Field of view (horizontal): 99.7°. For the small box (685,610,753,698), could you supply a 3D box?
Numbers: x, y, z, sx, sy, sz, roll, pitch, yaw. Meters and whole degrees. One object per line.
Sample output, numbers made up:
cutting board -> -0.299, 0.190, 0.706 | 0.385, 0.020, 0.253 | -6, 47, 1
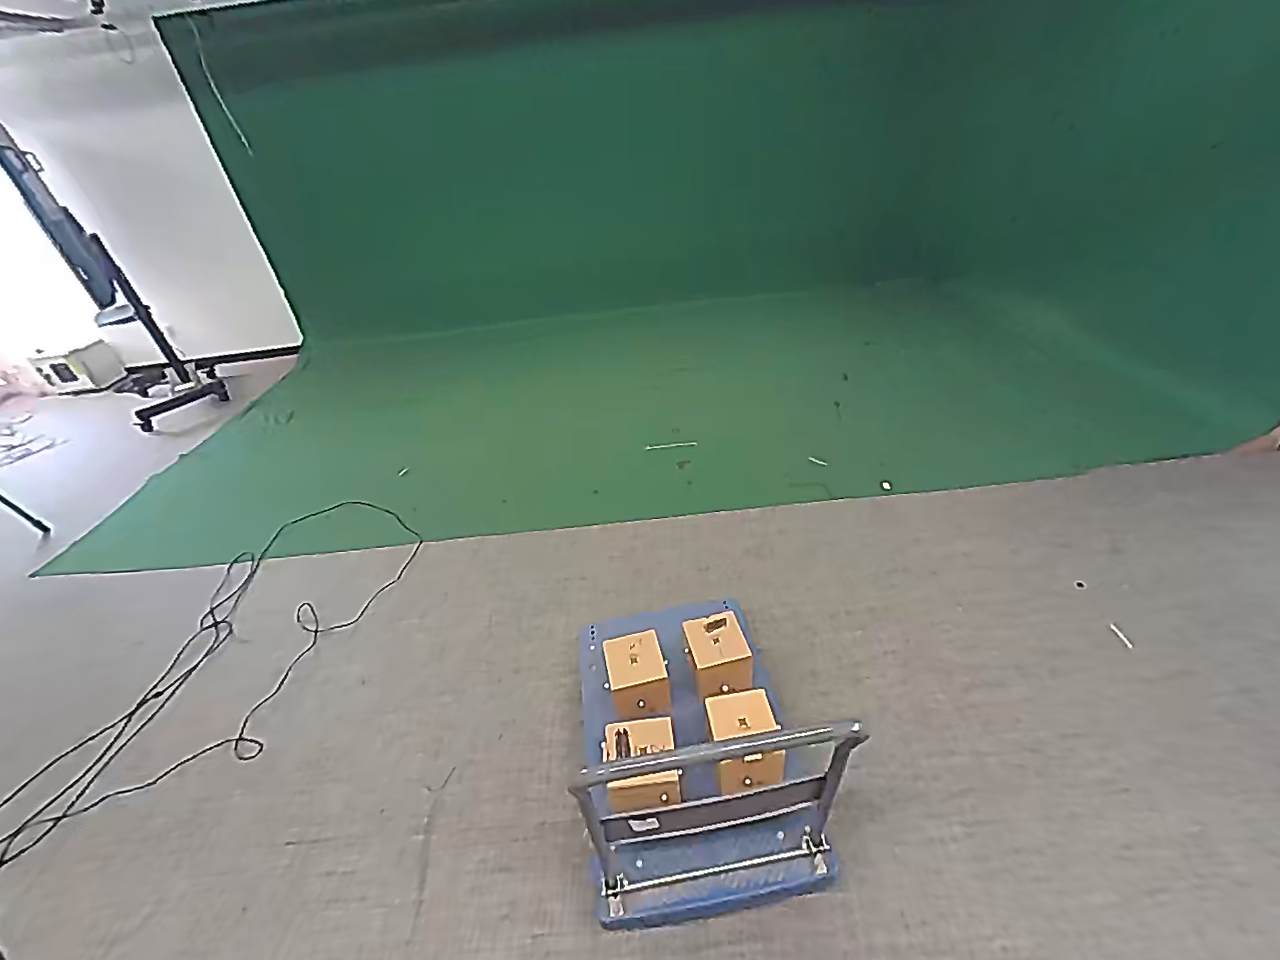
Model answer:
small box -> 0.238, 0.531, 1.654 | 0.168, 0.176, 0.179 | -12, 37, -5

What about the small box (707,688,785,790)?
small box -> 0.275, 0.688, 1.437 | 0.168, 0.176, 0.179 | -9, 36, -2

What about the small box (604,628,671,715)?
small box -> -0.007, 0.582, 1.628 | 0.168, 0.176, 0.179 | -11, 36, -6
